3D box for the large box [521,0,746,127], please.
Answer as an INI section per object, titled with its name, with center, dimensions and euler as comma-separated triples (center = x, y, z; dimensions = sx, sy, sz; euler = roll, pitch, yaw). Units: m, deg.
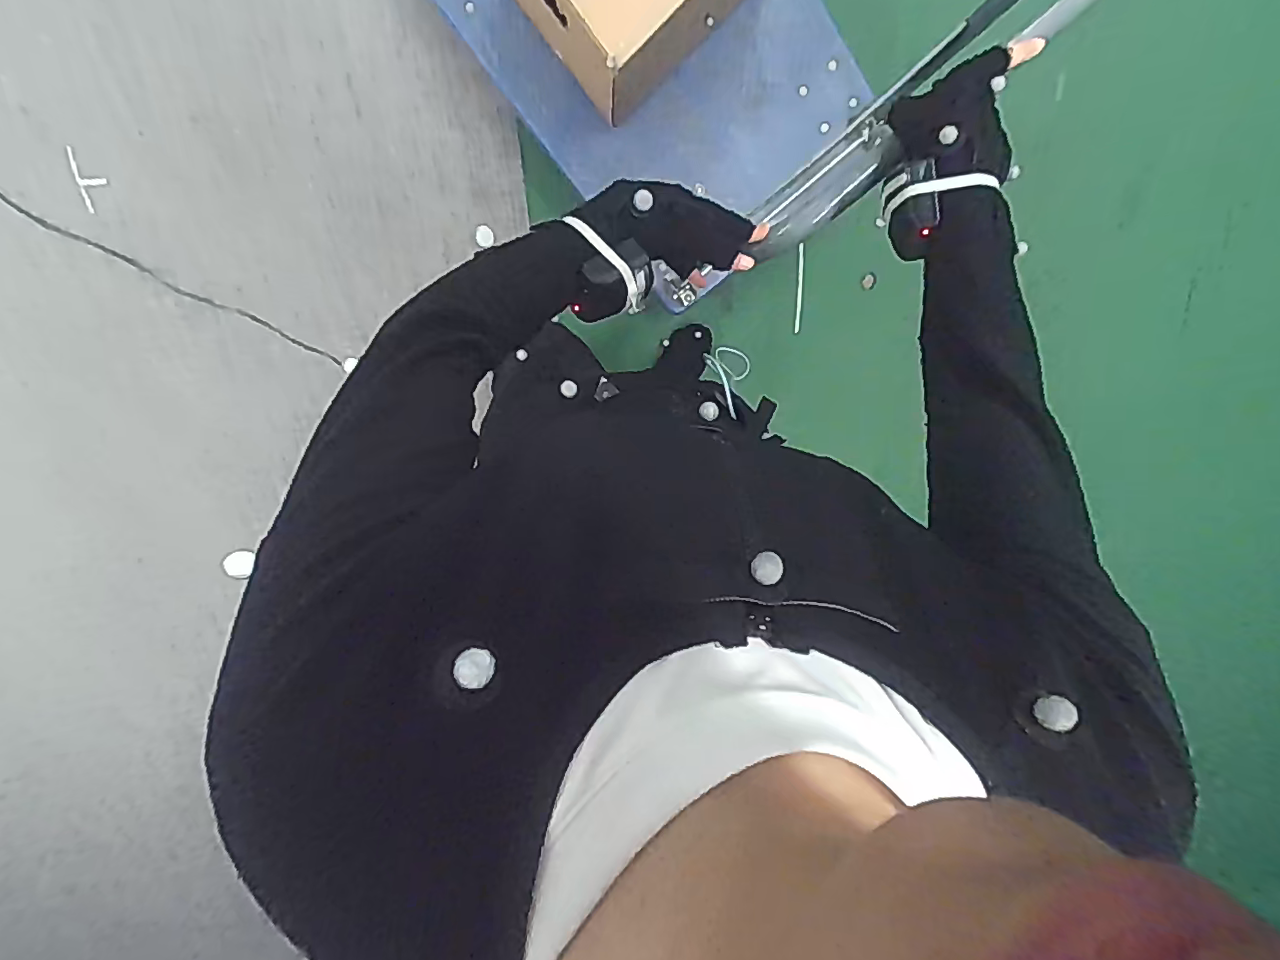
[large box]
center = 0.016, -0.885, 0.869
dimensions = 0.408, 0.320, 0.320
euler = -40, 106, 11
